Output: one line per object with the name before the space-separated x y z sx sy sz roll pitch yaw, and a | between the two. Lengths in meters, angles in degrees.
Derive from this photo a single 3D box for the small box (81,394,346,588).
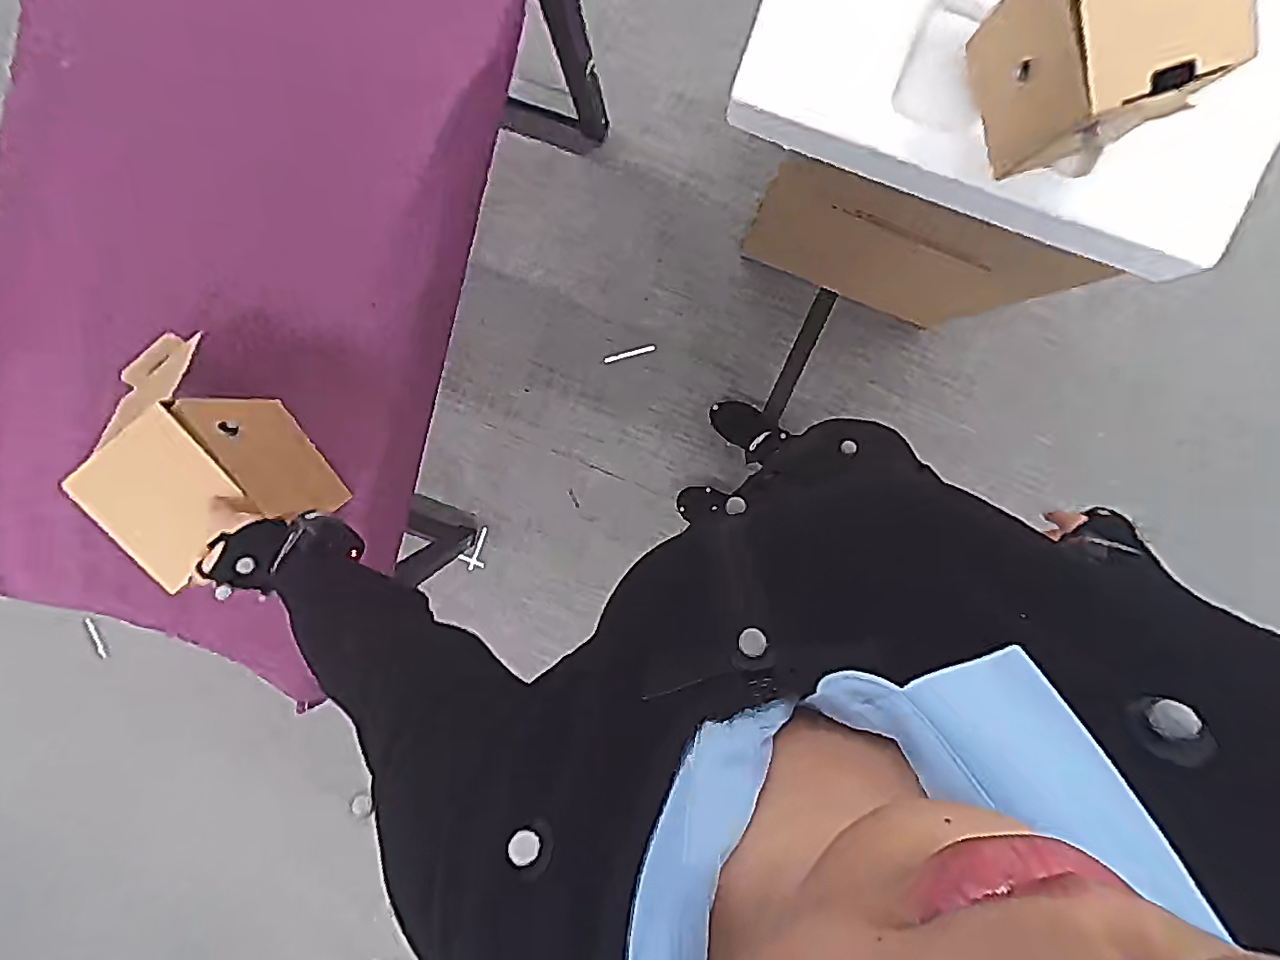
small box | -0.541 0.007 0.712 0.168 0.176 0.179 -35 94 8
